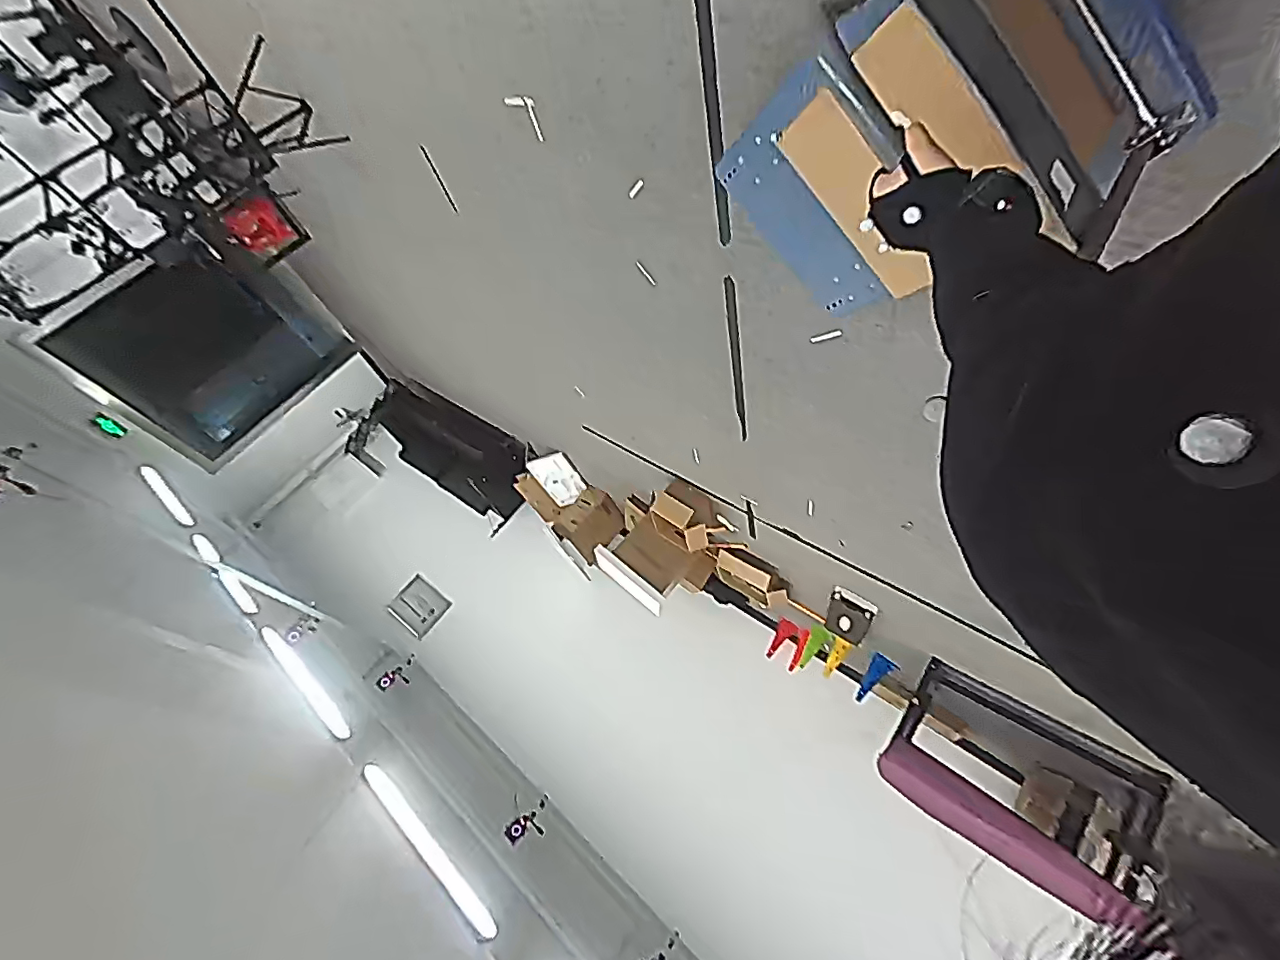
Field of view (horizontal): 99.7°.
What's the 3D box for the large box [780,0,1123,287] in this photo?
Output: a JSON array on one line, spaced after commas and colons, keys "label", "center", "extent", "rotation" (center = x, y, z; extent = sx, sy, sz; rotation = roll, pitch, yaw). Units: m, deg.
[{"label": "large box", "center": [0.550, -0.648, 0.975], "extent": [0.408, 0.320, 0.320], "rotation": [45, 160, -13]}]
